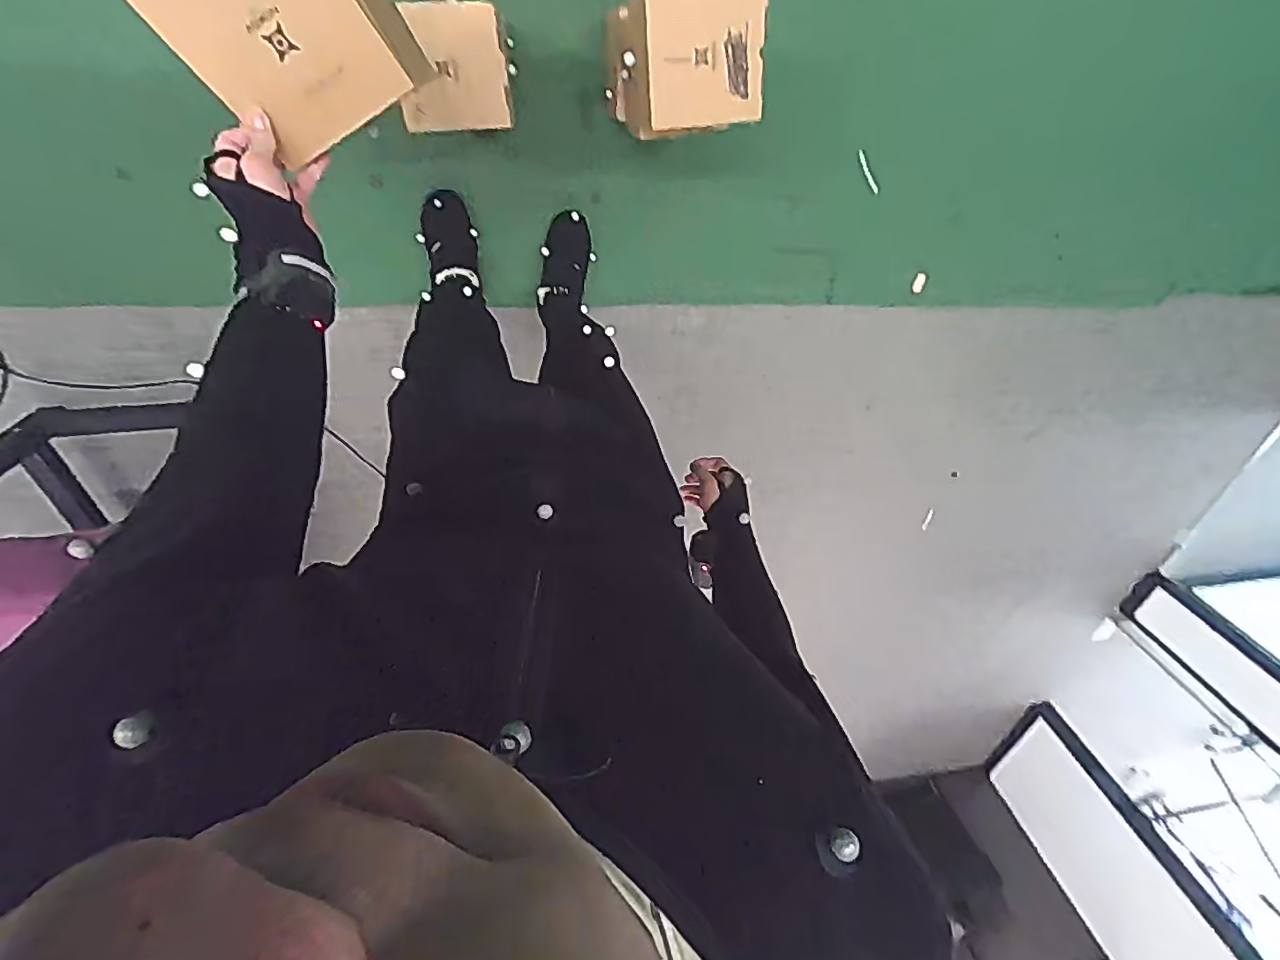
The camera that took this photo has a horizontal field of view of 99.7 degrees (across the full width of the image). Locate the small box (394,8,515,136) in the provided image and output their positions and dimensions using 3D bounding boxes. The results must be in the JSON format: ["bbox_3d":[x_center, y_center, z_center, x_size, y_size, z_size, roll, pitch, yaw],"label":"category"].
[{"bbox_3d":[-0.315,-0.703,0.937,0.179,0.176,0.168,-6,126,-6],"label":"small box"}]

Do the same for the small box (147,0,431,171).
[{"bbox_3d":[-0.349,-0.465,0.567,0.168,0.176,0.179,-24,130,10],"label":"small box"}]

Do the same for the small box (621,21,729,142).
[{"bbox_3d":[0.062,-0.735,0.983,0.168,0.176,0.179,-10,129,-3],"label":"small box"}]

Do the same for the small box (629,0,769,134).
[{"bbox_3d":[0.085,-0.651,0.842,0.179,0.176,0.168,-8,127,-4],"label":"small box"}]
